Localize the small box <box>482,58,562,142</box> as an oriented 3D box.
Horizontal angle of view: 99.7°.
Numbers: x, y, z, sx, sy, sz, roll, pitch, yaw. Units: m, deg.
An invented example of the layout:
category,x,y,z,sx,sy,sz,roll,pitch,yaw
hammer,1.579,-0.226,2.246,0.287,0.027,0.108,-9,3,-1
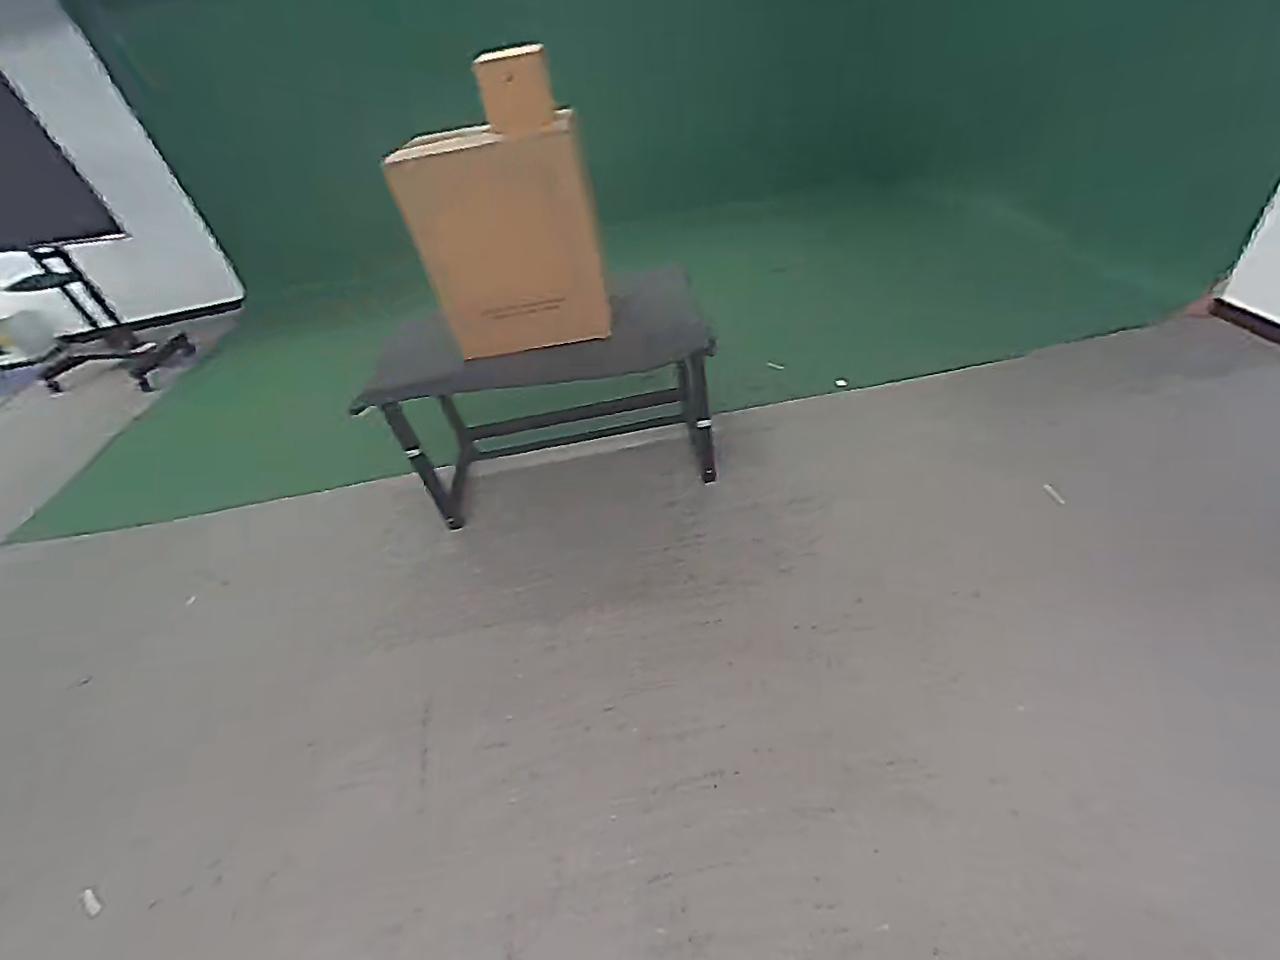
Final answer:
category,x,y,z,sx,sy,sz,roll,pitch,yaw
small box,-0.334,-1.096,1.563,0.179,0.176,0.168,-7,44,2
